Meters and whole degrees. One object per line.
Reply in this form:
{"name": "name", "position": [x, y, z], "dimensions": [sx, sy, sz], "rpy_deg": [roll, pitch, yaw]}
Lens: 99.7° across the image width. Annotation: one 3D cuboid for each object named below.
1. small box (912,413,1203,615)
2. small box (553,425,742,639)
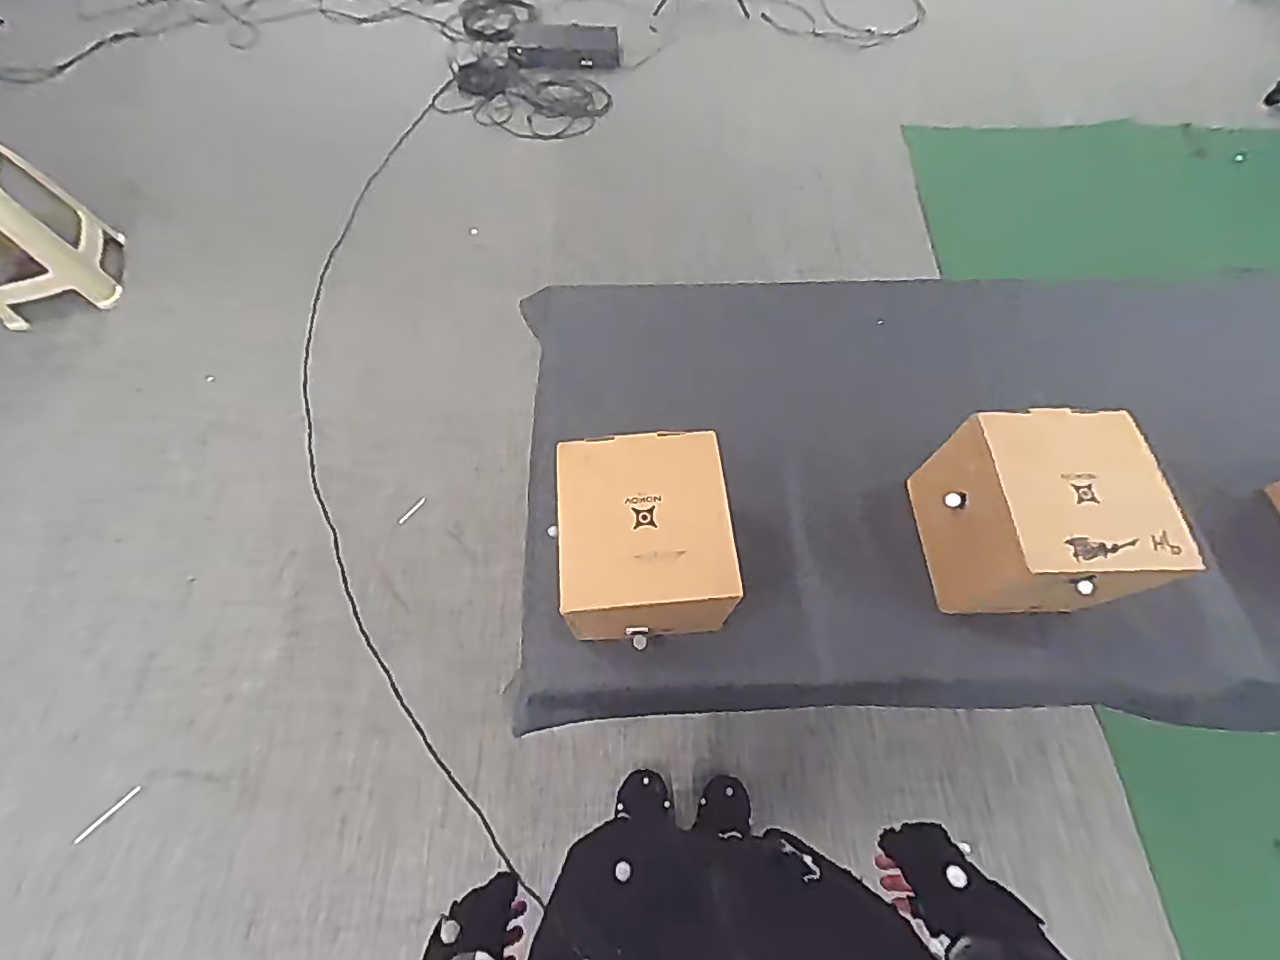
{"name": "small box", "position": [0.432, 0.043, 0.602], "dimensions": [0.168, 0.176, 0.179], "rpy_deg": [-1, 63, 0]}
{"name": "small box", "position": [0.005, 0.061, 0.570], "dimensions": [0.168, 0.176, 0.179], "rpy_deg": [-3, 64, 0]}
